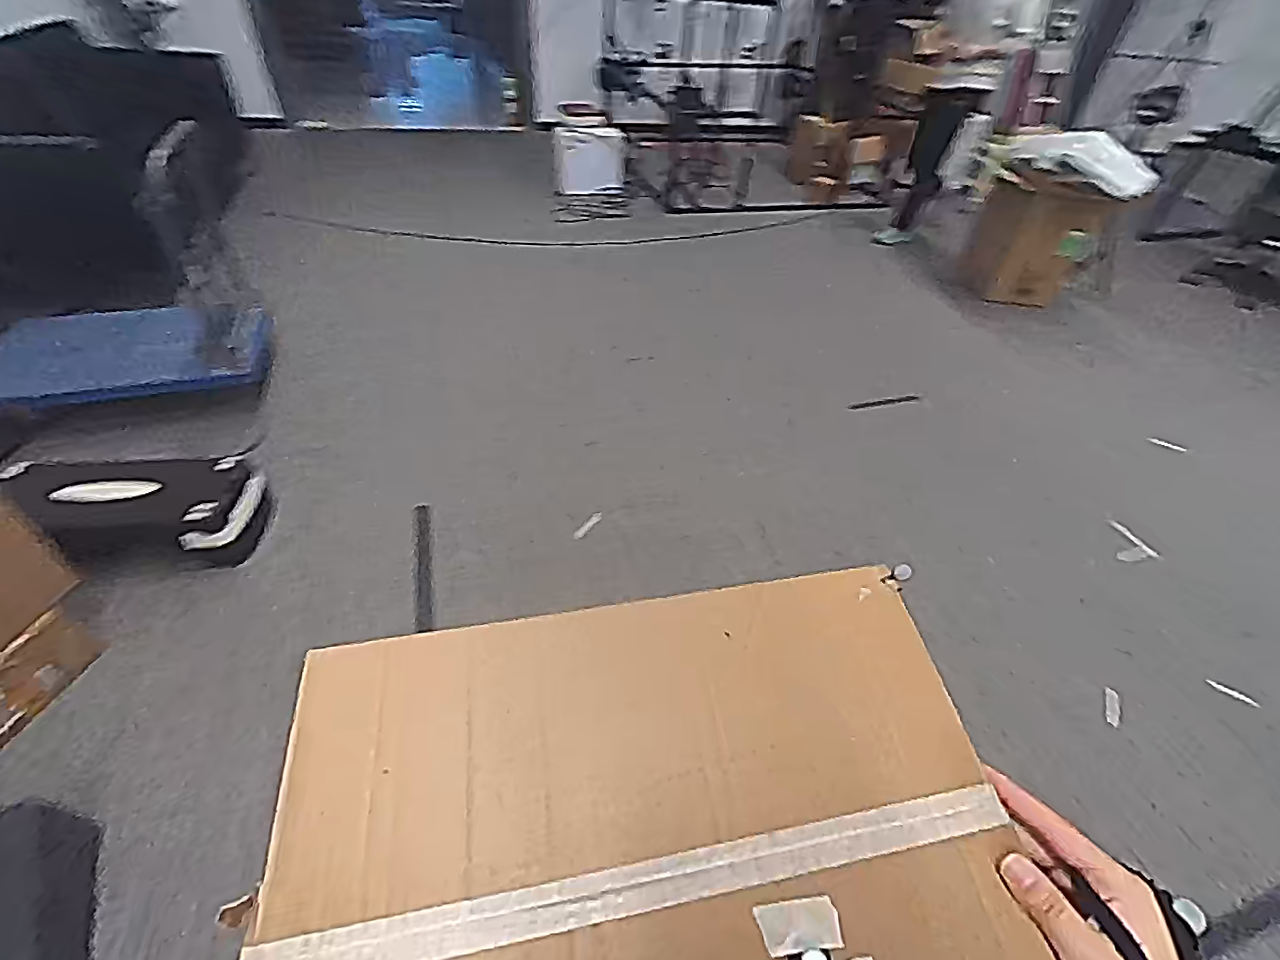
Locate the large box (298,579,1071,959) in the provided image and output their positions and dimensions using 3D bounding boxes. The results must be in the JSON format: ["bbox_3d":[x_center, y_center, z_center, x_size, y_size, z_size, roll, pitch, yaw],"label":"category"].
[{"bbox_3d":[0.013,0.308,0.418,0.408,0.320,0.320,-6,56,-8],"label":"large box"}]
